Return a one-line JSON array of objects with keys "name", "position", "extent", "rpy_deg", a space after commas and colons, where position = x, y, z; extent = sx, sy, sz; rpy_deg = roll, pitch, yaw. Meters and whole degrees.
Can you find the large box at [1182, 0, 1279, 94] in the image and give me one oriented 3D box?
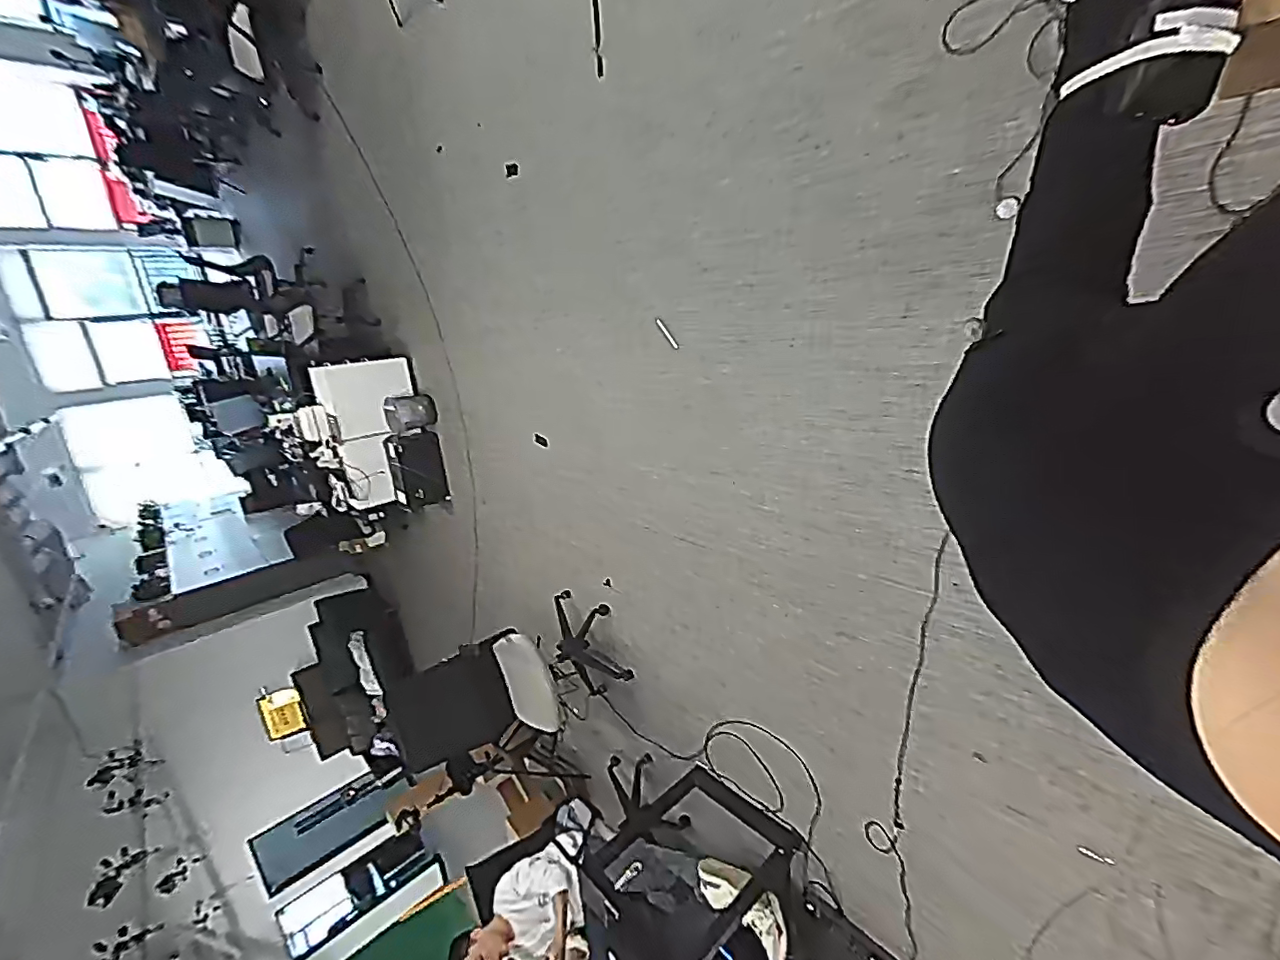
[{"name": "large box", "position": [0.593, -0.462, 0.274], "extent": [0.408, 0.320, 0.320], "rpy_deg": [13, 119, 47]}]
